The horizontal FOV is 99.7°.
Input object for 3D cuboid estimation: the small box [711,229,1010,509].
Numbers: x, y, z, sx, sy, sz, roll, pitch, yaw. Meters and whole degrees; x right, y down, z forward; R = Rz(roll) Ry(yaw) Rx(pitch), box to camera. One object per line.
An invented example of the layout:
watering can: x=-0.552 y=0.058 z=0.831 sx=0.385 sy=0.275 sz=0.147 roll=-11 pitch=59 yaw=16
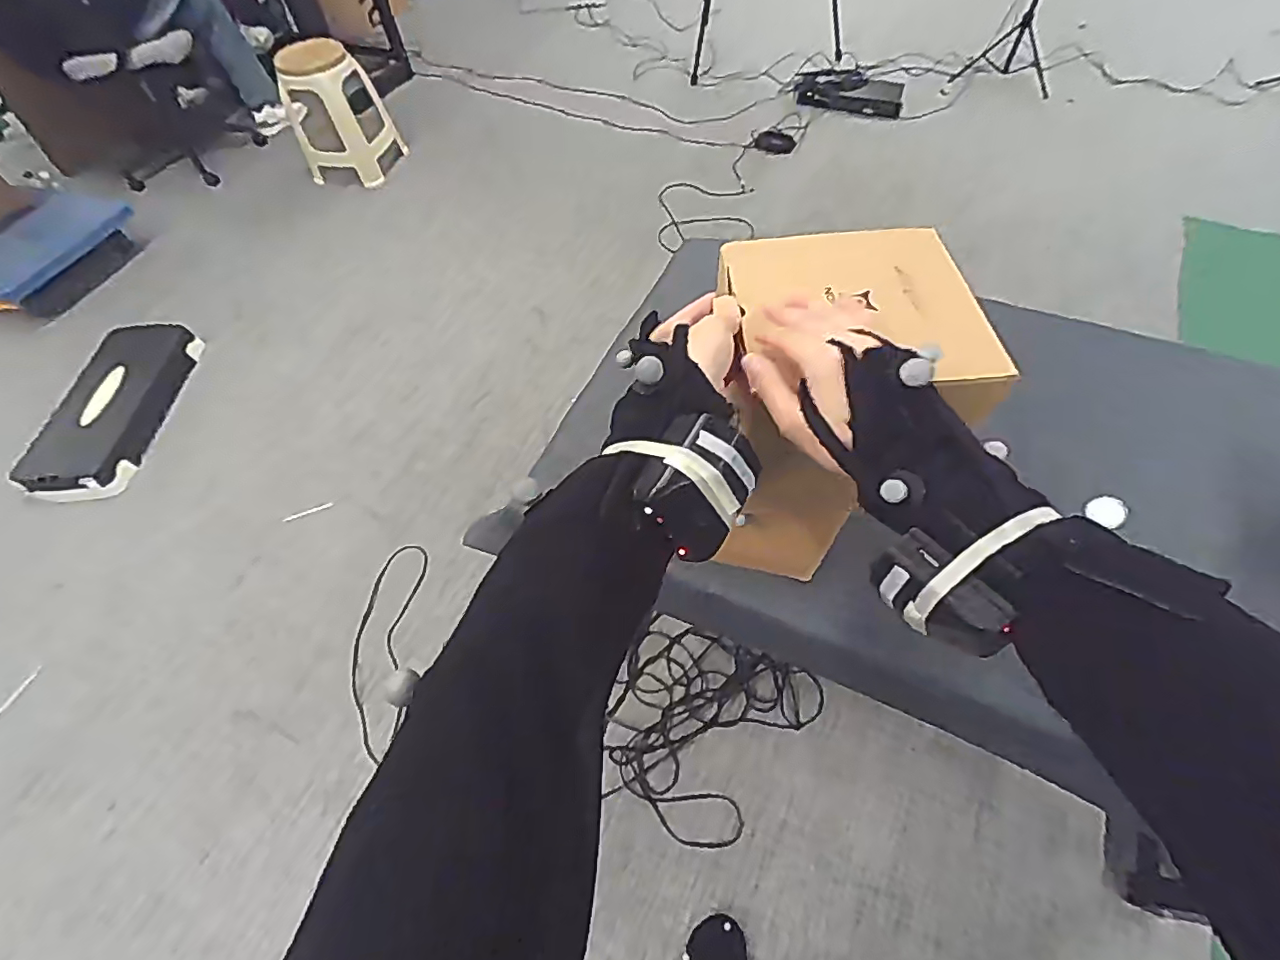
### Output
small box: x=0.156 y=-0.085 z=0.461 sx=0.179 sy=0.176 sz=0.168 roll=-3 pitch=58 yaw=0

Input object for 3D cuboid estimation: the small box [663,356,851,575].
small box: x=0.130 y=-0.009 z=0.607 sx=0.179 sy=0.176 sz=0.168 roll=11 pitch=58 yaw=11
